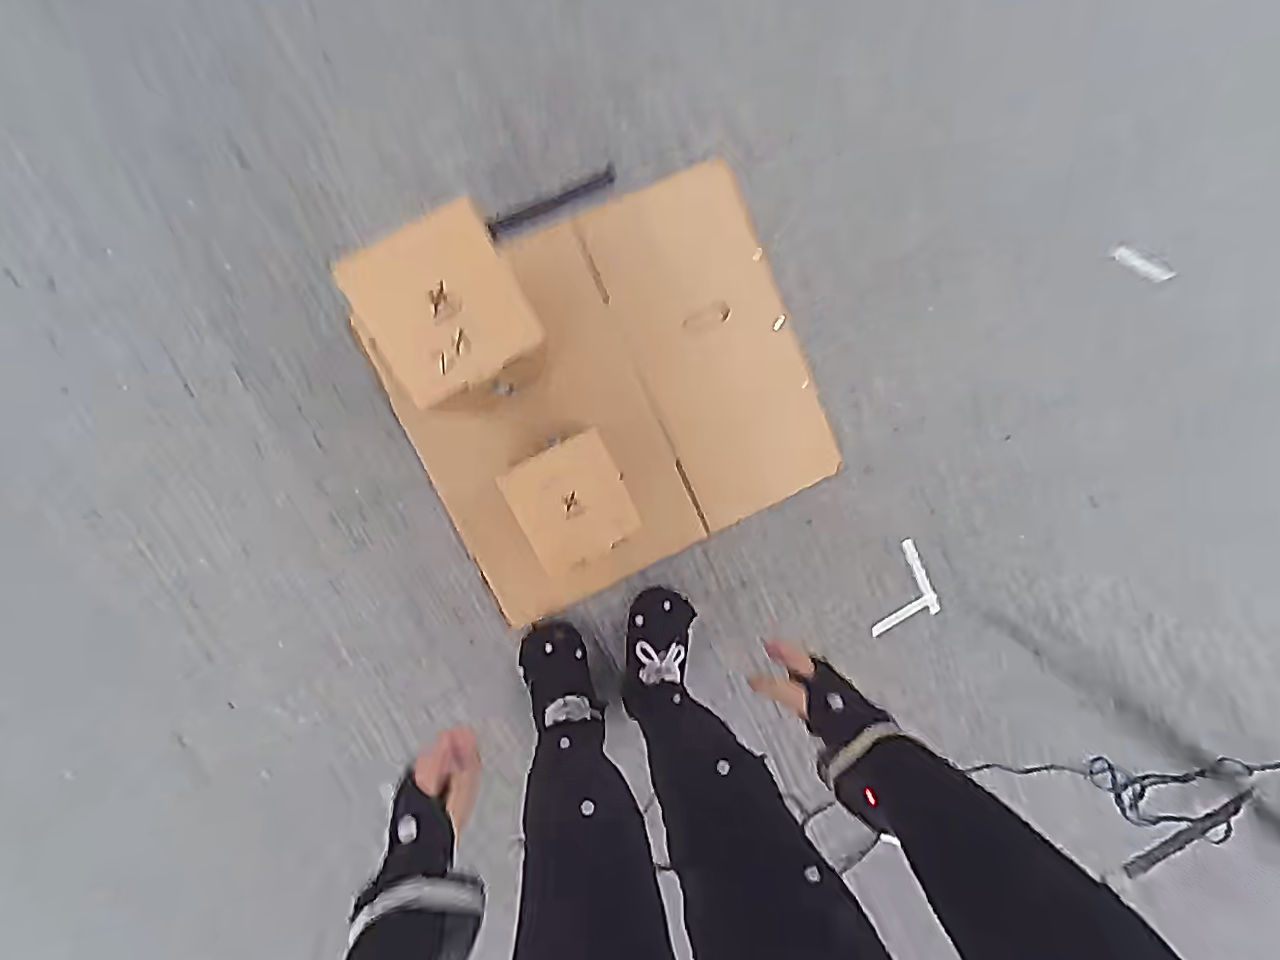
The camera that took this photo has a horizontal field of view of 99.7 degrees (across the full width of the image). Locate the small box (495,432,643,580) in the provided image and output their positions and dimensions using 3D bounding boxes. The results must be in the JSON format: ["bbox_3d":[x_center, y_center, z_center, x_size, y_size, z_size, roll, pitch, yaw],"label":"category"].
[{"bbox_3d":[-0.114,0.031,0.883,0.168,0.176,0.179,-29,99,-6],"label":"small box"}]

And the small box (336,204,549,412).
[{"bbox_3d":[-0.228,-0.196,0.674,0.168,0.176,0.179,-31,99,-4],"label":"small box"}]
